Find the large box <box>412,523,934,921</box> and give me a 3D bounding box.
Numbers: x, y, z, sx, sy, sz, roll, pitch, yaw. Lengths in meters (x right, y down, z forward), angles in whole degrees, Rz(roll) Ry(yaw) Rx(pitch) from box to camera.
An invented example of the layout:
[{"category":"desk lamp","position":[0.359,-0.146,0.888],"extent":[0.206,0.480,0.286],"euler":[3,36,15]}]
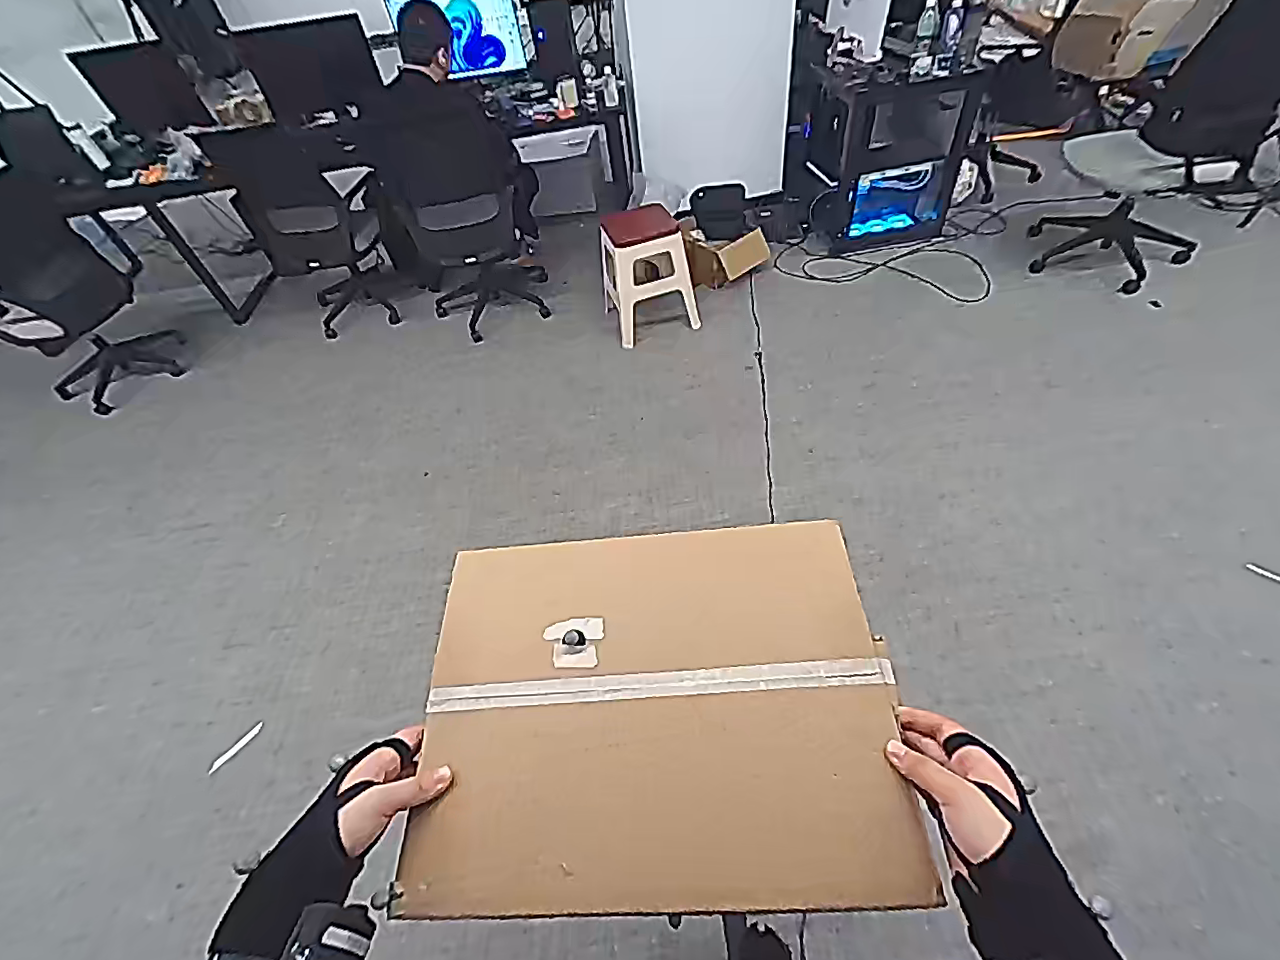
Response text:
[{"category":"large box","position":[0.034,0.280,0.609],"extent":[0.408,0.320,0.320],"euler":[-7,51,6]}]
